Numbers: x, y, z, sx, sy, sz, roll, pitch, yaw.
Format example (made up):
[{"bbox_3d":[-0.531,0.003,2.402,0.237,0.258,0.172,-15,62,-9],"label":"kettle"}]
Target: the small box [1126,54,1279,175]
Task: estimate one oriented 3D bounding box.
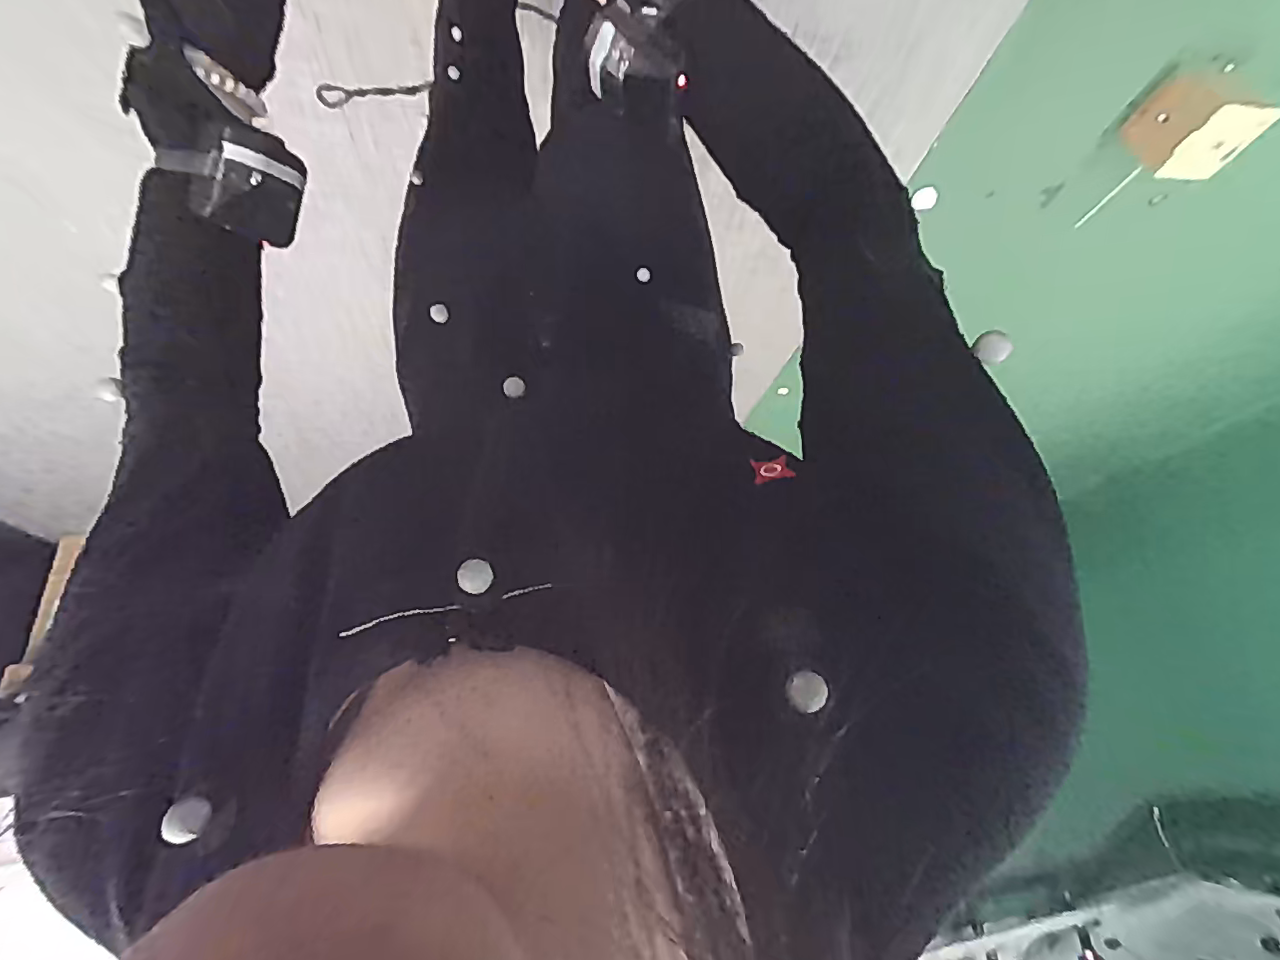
[{"bbox_3d":[1.292,-0.840,1.245,0.179,0.176,0.168,-2,156,-11],"label":"small box"}]
